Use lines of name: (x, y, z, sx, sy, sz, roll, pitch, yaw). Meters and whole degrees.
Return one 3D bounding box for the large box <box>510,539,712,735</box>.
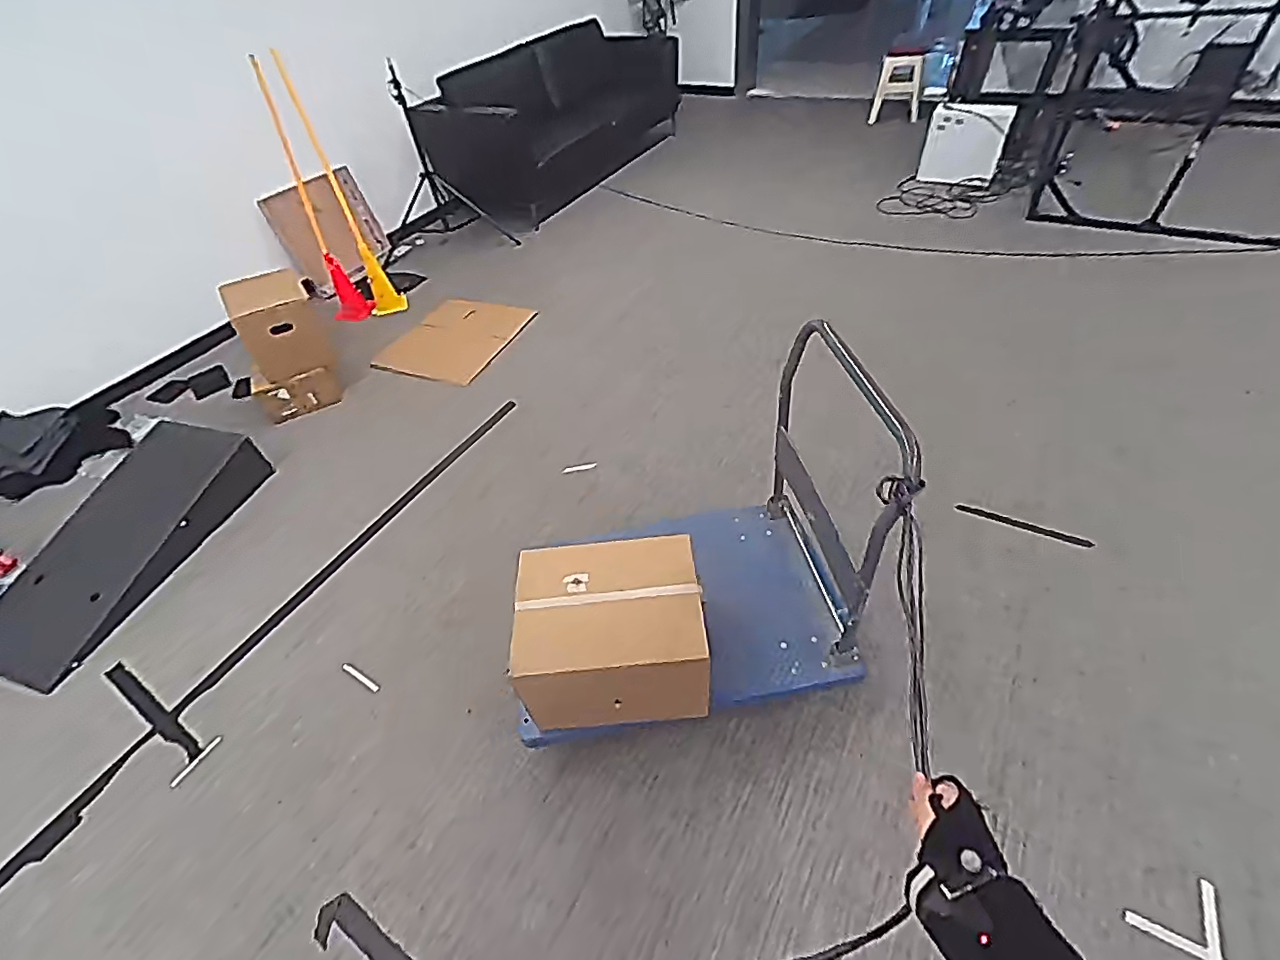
large box: (-0.056, 0.371, 1.266, 0.408, 0.320, 0.320, -6, 45, 1)
